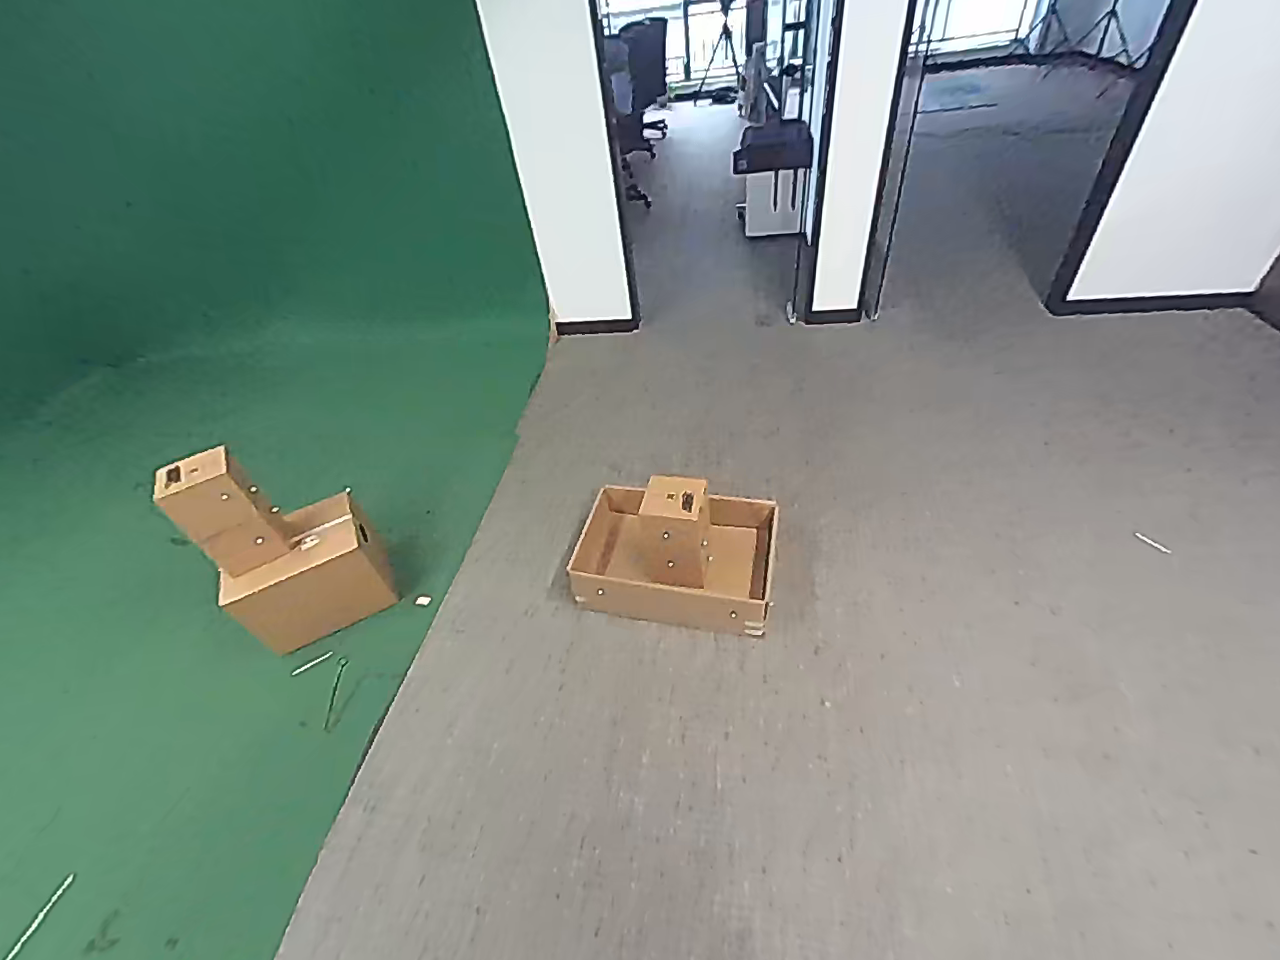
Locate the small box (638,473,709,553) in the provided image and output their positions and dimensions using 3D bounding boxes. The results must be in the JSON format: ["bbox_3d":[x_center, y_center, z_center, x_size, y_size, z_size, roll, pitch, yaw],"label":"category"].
[{"bbox_3d":[0.109,0.102,1.633,0.179,0.176,0.168,5,45,17],"label":"small box"}]

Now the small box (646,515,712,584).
[{"bbox_3d":[0.132,0.218,1.747,0.179,0.176,0.168,5,46,15],"label":"small box"}]
